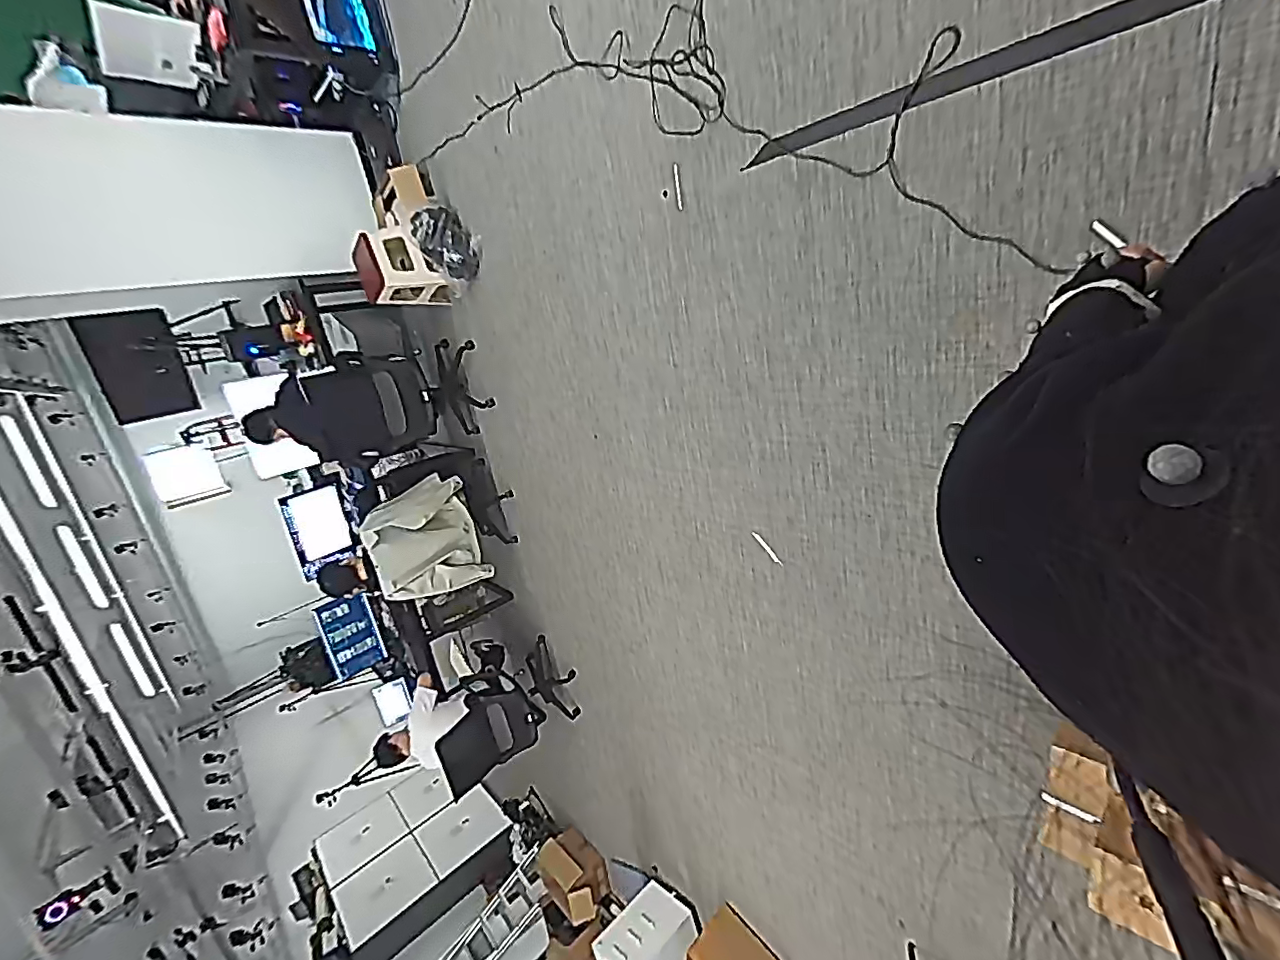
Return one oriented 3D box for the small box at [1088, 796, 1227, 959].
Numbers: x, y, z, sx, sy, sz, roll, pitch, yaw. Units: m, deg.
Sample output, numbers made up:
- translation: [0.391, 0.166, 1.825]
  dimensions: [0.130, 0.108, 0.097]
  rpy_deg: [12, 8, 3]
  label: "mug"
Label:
- translation: [1.013, 0.768, 1.060]
  dimensions: [0.179, 0.176, 0.168]
  rpy_deg: [9, 114, 49]
  label: "small box"
